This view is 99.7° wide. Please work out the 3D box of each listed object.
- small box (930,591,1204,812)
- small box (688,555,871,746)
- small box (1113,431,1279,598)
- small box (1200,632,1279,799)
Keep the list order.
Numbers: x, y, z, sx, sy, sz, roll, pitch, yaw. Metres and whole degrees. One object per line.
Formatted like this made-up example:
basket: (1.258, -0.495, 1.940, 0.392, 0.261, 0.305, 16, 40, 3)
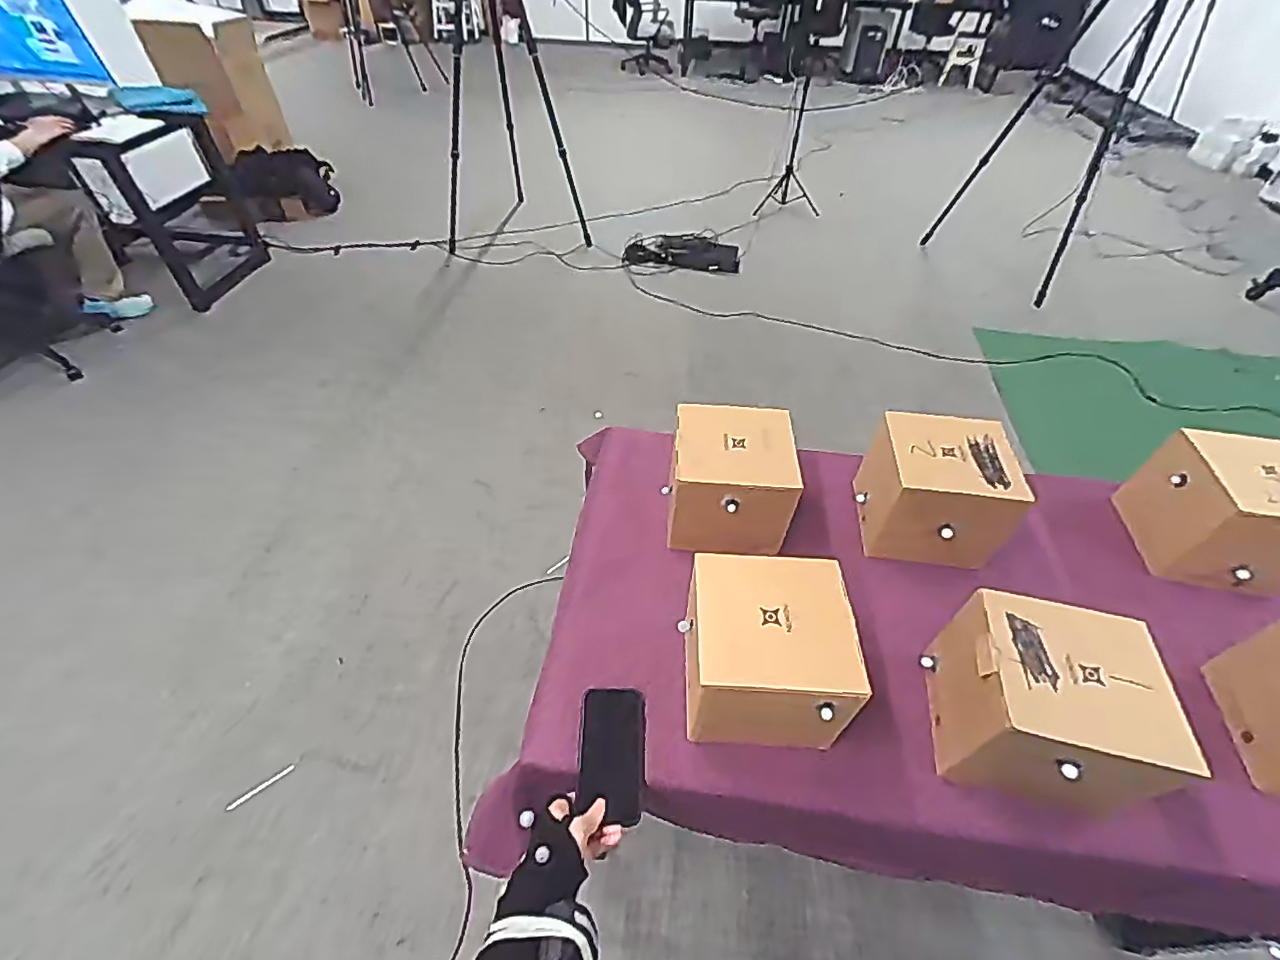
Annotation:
small box: (0.458, 0.257, 0.624, 0.179, 0.176, 0.168, 12, 47, 8)
small box: (0.150, 0.210, 0.660, 0.179, 0.176, 0.168, 3, 46, 0)
small box: (0.888, 0.053, 0.830, 0.168, 0.176, 0.179, 9, 48, 7)
small box: (0.828, 0.277, 0.618, 0.179, 0.176, 0.168, 12, 47, 9)
